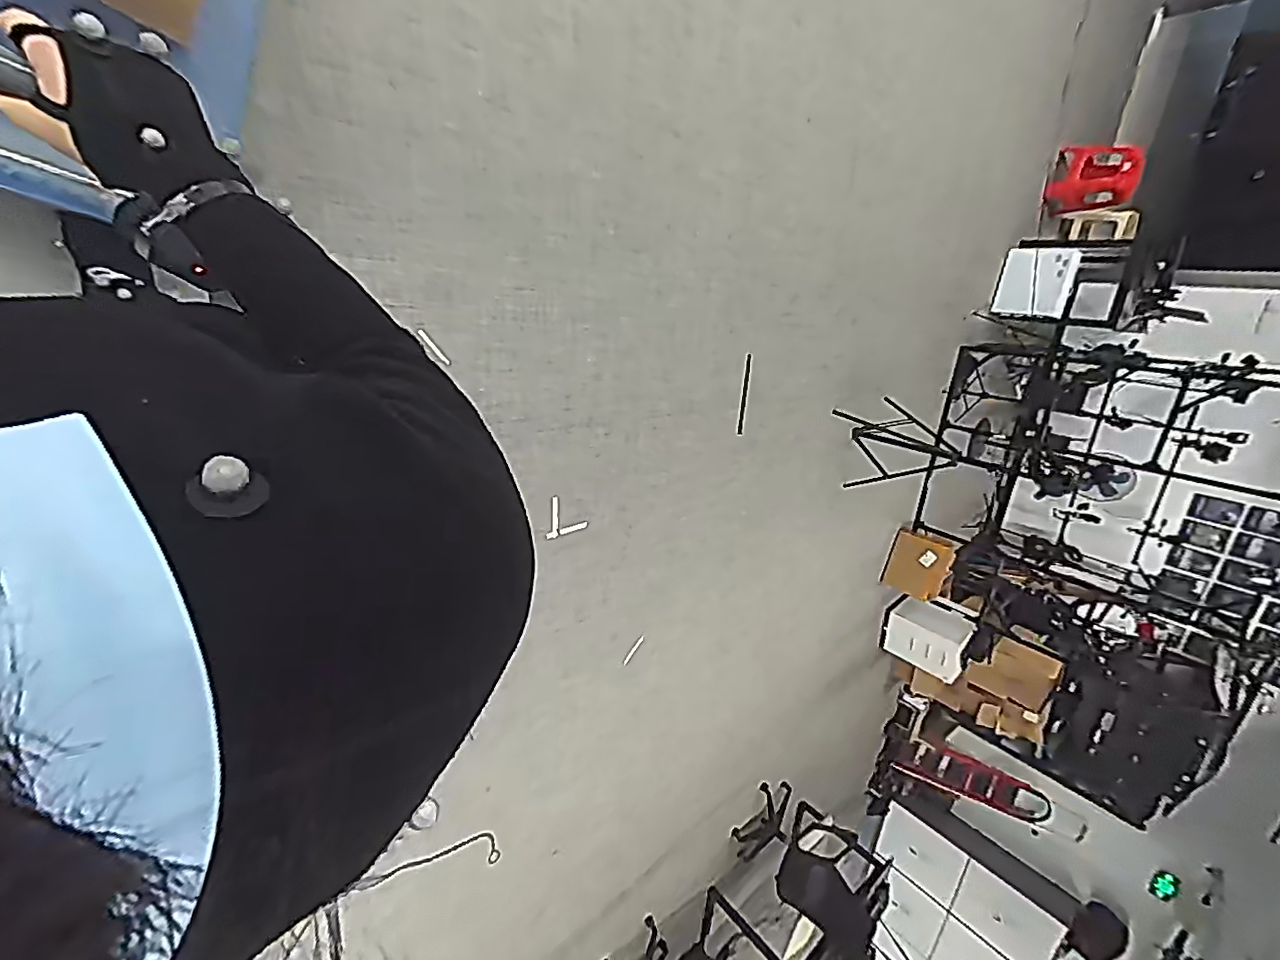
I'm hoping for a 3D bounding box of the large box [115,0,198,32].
[{"bbox_3d":[-0.749,-0.846,0.626,0.408,0.320,0.320,10,100,-44],"label":"large box"}]
